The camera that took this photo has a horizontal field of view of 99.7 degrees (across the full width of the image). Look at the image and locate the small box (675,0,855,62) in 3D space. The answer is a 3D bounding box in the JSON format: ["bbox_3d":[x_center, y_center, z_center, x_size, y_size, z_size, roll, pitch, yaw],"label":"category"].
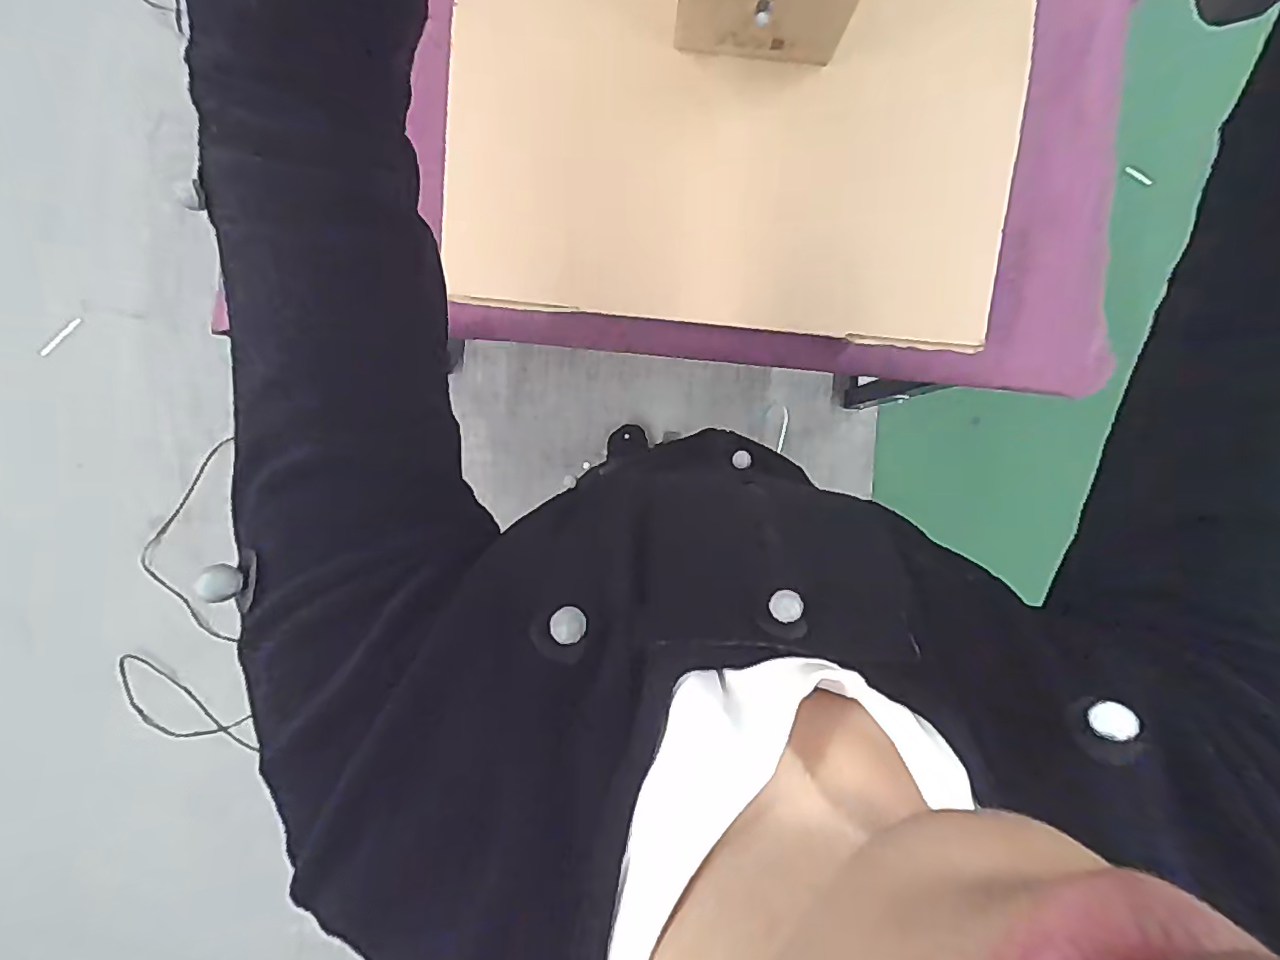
[{"bbox_3d":[0.125,-0.529,0.479,0.168,0.176,0.179,6,90,-2],"label":"small box"}]
